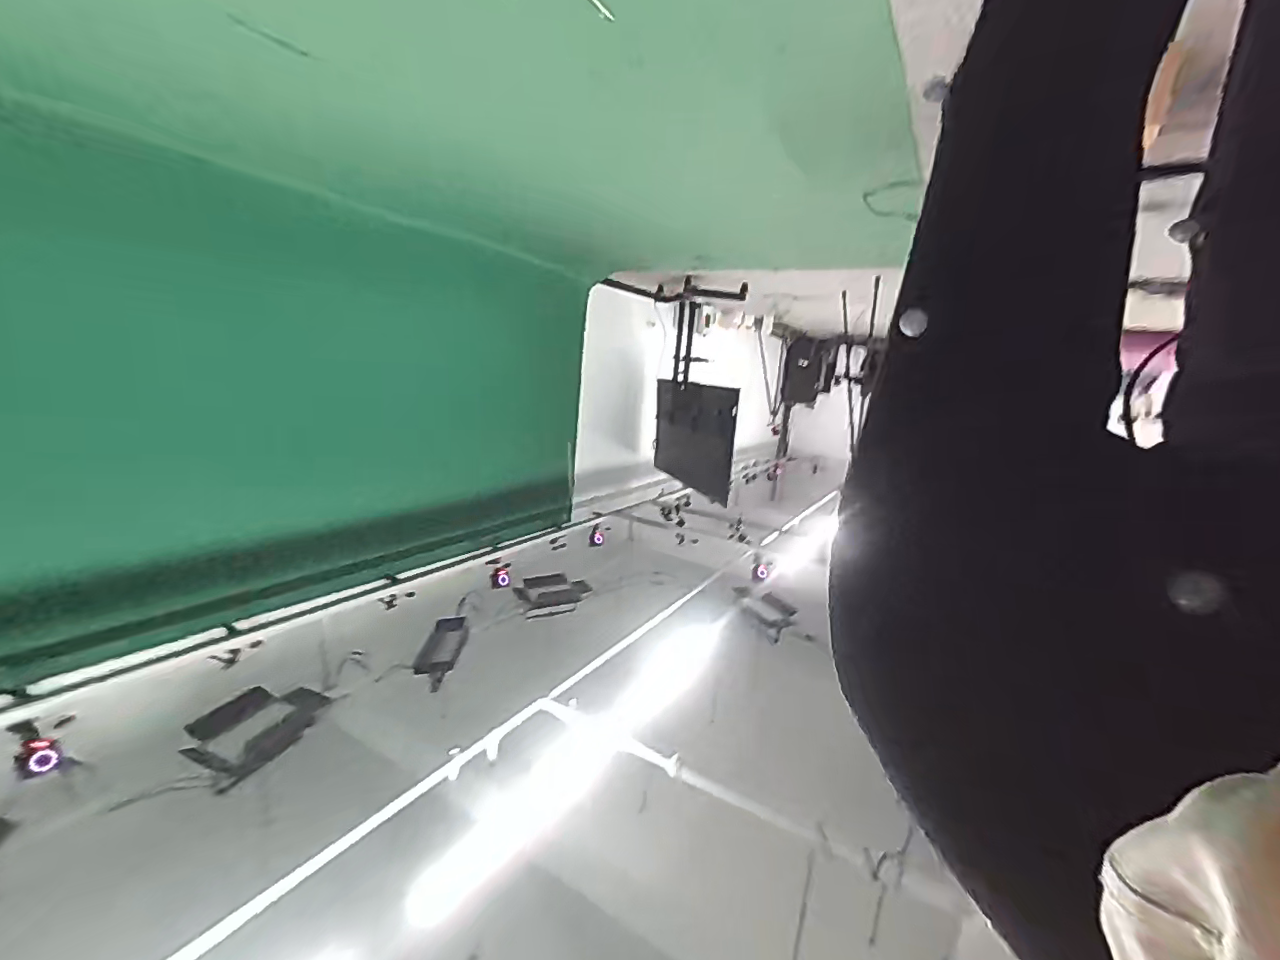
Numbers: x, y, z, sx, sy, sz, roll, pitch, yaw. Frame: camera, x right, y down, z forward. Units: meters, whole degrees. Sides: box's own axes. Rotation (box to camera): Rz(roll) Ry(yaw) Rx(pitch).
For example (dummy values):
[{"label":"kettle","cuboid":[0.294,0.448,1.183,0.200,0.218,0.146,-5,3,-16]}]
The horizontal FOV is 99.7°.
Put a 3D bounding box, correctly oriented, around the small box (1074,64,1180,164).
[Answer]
[{"label":"small box","cuboid":[1.307,-0.982,1.458,0.179,0.176,0.168,14,-167,33]}]
